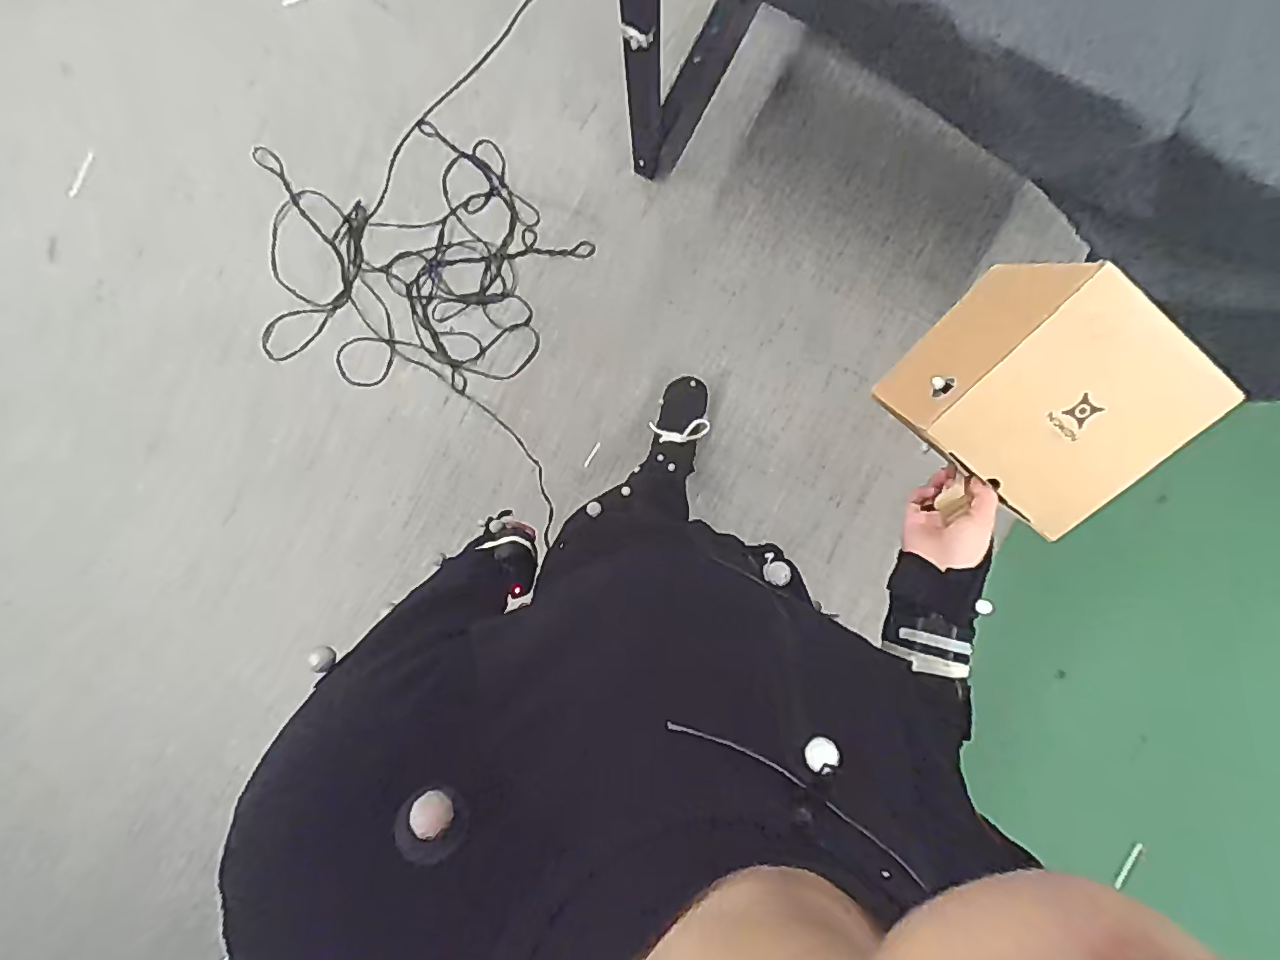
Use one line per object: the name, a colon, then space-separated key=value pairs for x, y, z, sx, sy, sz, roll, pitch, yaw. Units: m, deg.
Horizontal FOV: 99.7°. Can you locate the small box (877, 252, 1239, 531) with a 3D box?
small box: x=0.363 y=-0.092 z=0.513 sx=0.168 sy=0.176 sz=0.179 roll=37 pitch=112 yaw=-10
